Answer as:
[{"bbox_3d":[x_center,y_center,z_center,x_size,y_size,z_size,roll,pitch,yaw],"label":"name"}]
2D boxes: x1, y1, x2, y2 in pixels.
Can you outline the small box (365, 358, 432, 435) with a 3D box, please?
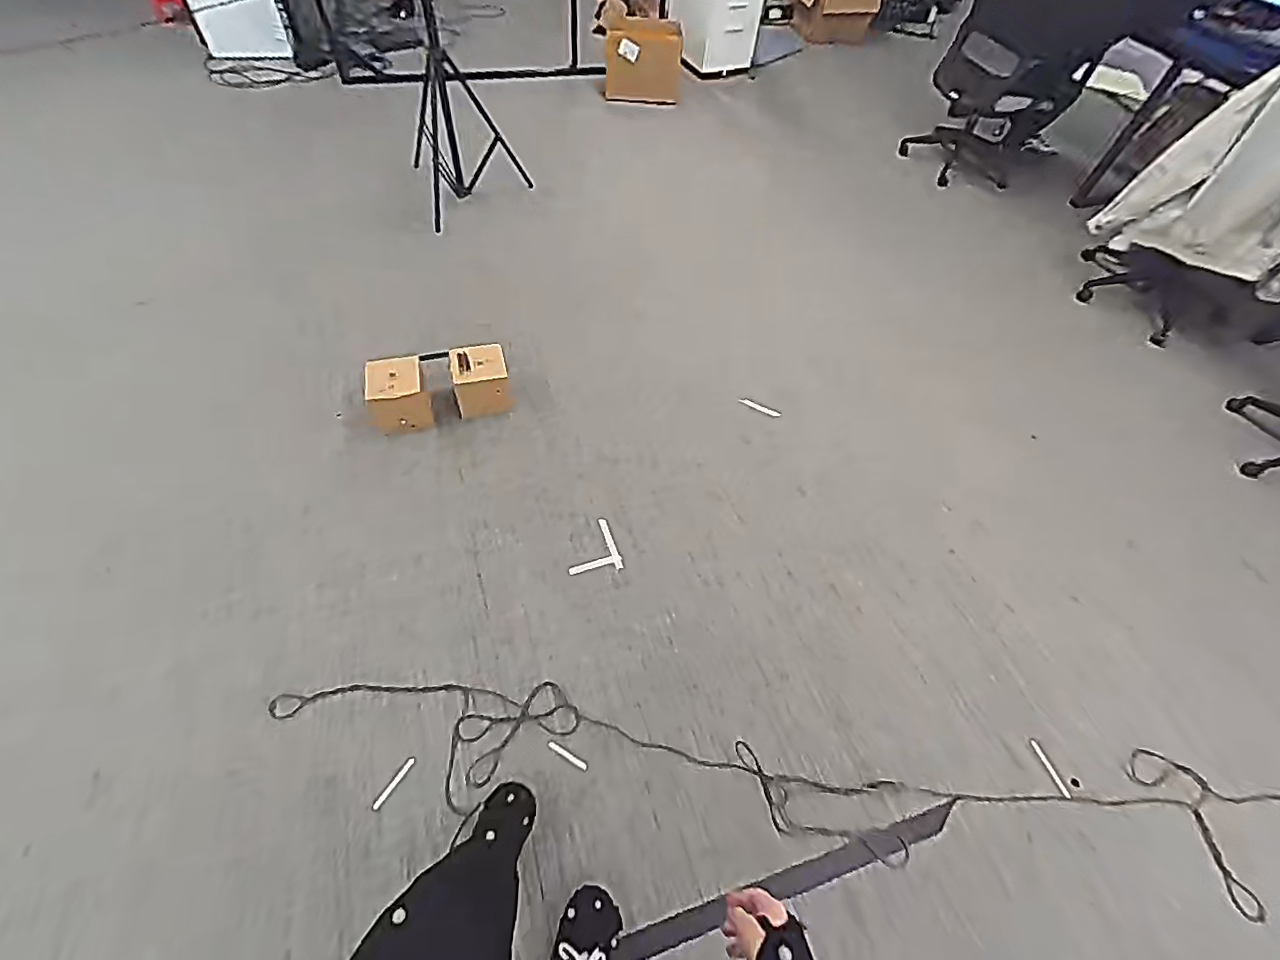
[{"bbox_3d":[-0.796,-0.275,1.791,0.168,0.176,0.179,-11,57,-12],"label":"small box"}]
